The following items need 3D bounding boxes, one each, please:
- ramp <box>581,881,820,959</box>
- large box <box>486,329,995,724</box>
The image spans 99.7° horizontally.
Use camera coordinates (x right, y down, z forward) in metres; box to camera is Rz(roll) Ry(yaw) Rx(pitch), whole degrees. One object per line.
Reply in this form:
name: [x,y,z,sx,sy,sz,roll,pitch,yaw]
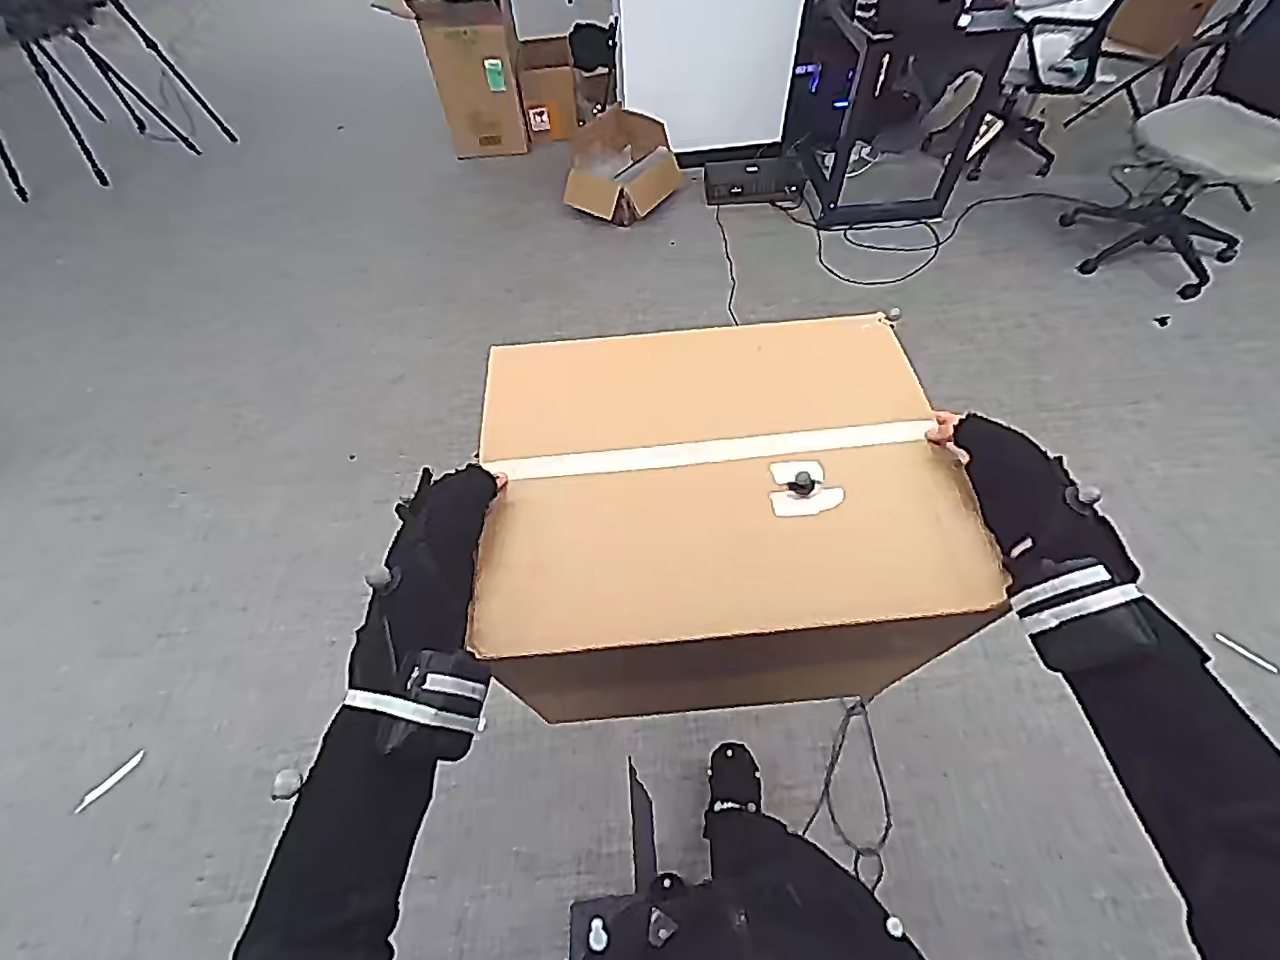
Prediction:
ramp: [0.154,1.259,0.834,0.509,0.206,0.991,-8,55,-1]
large box: [0.068,0.067,0.615,0.408,0.320,0.320,-6,58,-1]
